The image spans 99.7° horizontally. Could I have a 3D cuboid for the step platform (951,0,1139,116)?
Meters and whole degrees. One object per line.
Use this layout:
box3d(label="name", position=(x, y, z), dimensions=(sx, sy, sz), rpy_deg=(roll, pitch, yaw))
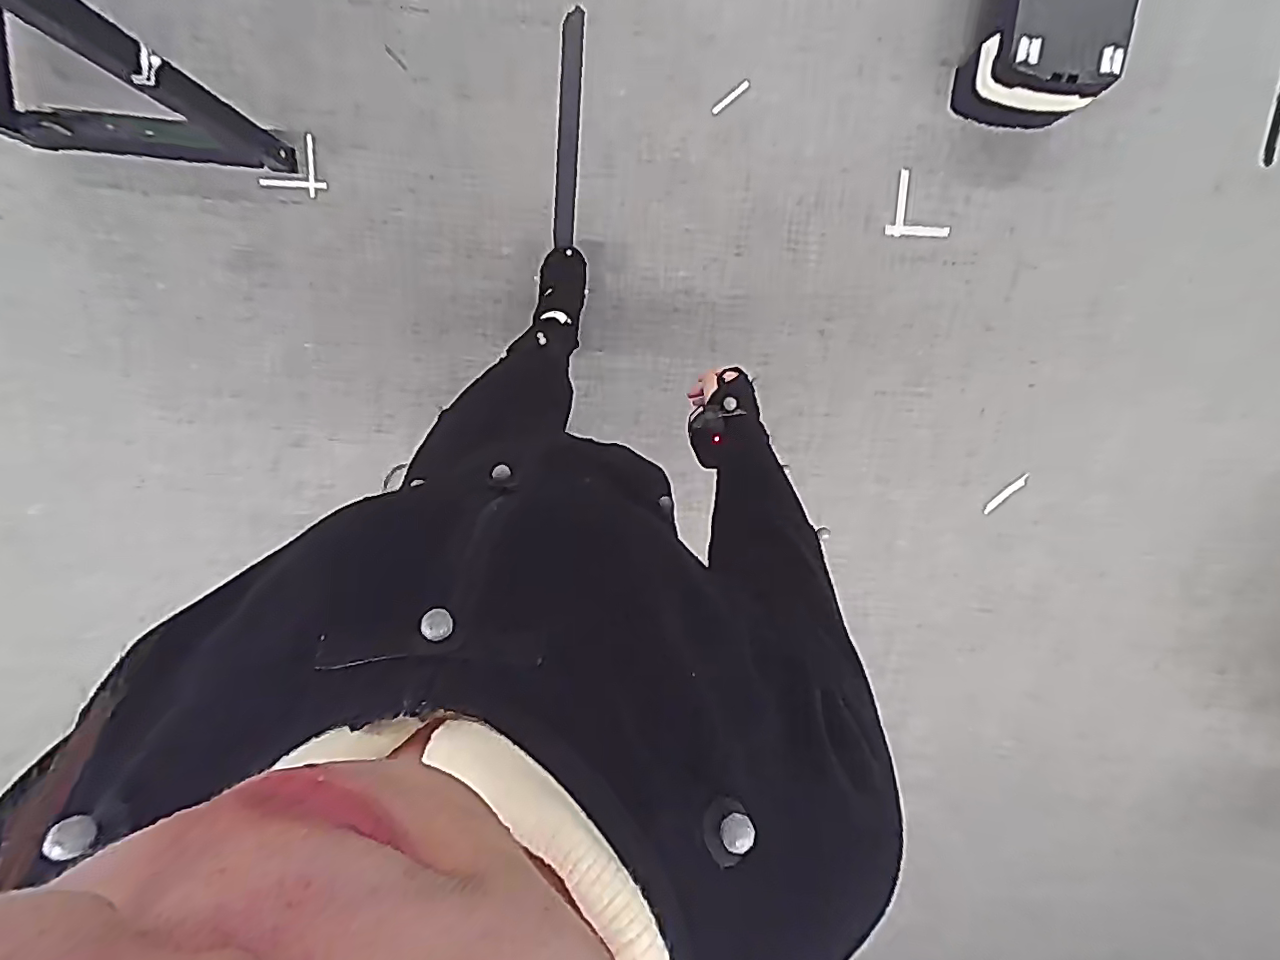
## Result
box3d(label="step platform", position=(0.959, -1.232, 1.195), dimensions=(0.286, 0.204, 0.684), rpy_deg=(9, 100, -5))
